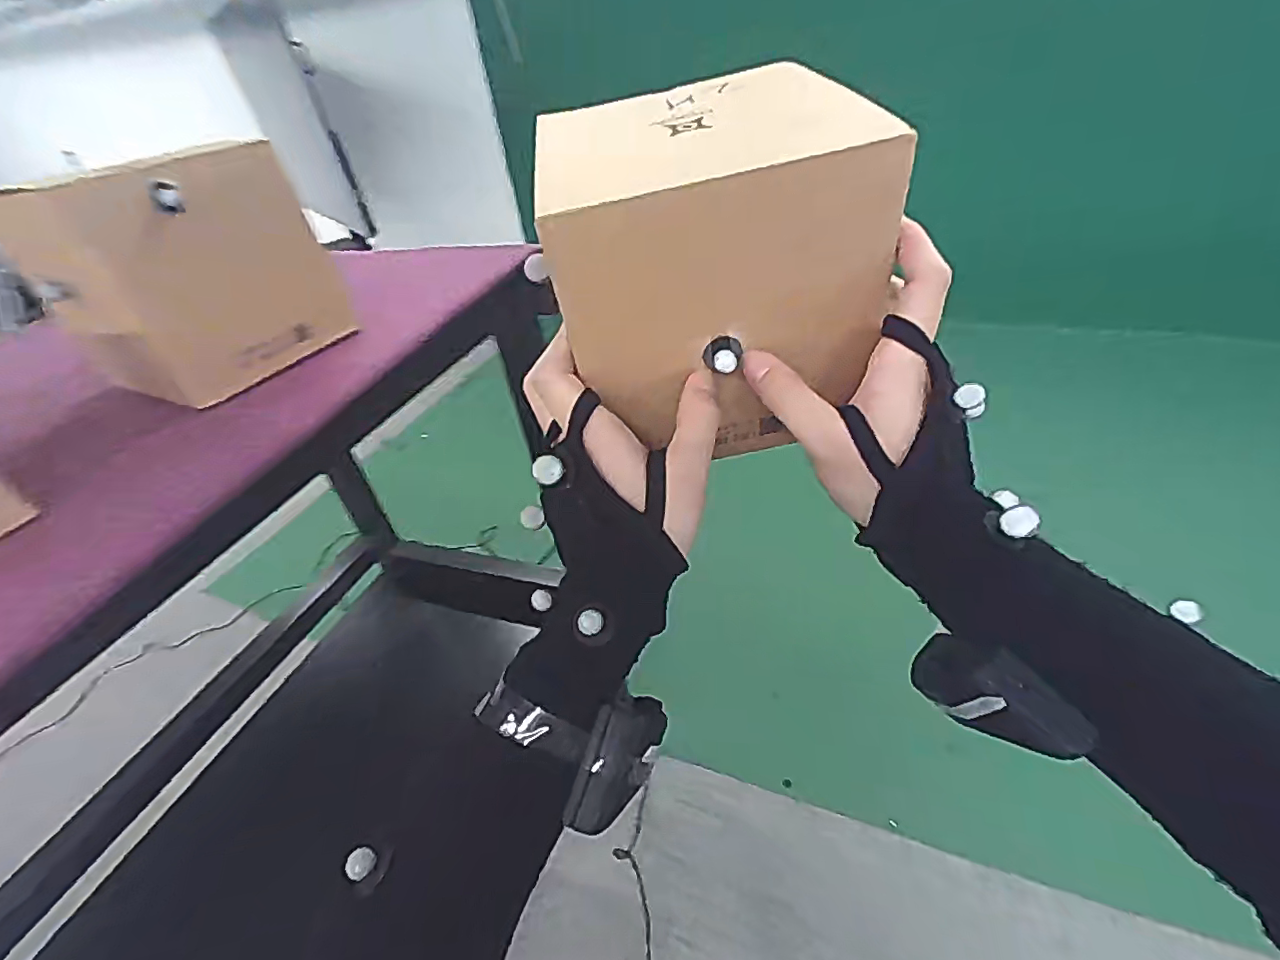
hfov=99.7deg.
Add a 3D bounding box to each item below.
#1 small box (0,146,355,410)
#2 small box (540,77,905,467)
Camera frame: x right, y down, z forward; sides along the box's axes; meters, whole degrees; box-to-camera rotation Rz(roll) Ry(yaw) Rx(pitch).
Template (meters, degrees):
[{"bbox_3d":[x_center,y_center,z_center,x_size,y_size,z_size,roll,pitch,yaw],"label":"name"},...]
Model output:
[{"bbox_3d":[-0.406,-0.179,0.485,0.179,0.176,0.168,12,45,27],"label":"small box"},{"bbox_3d":[0.041,-0.125,0.348,0.168,0.176,0.179,-11,46,3],"label":"small box"}]
